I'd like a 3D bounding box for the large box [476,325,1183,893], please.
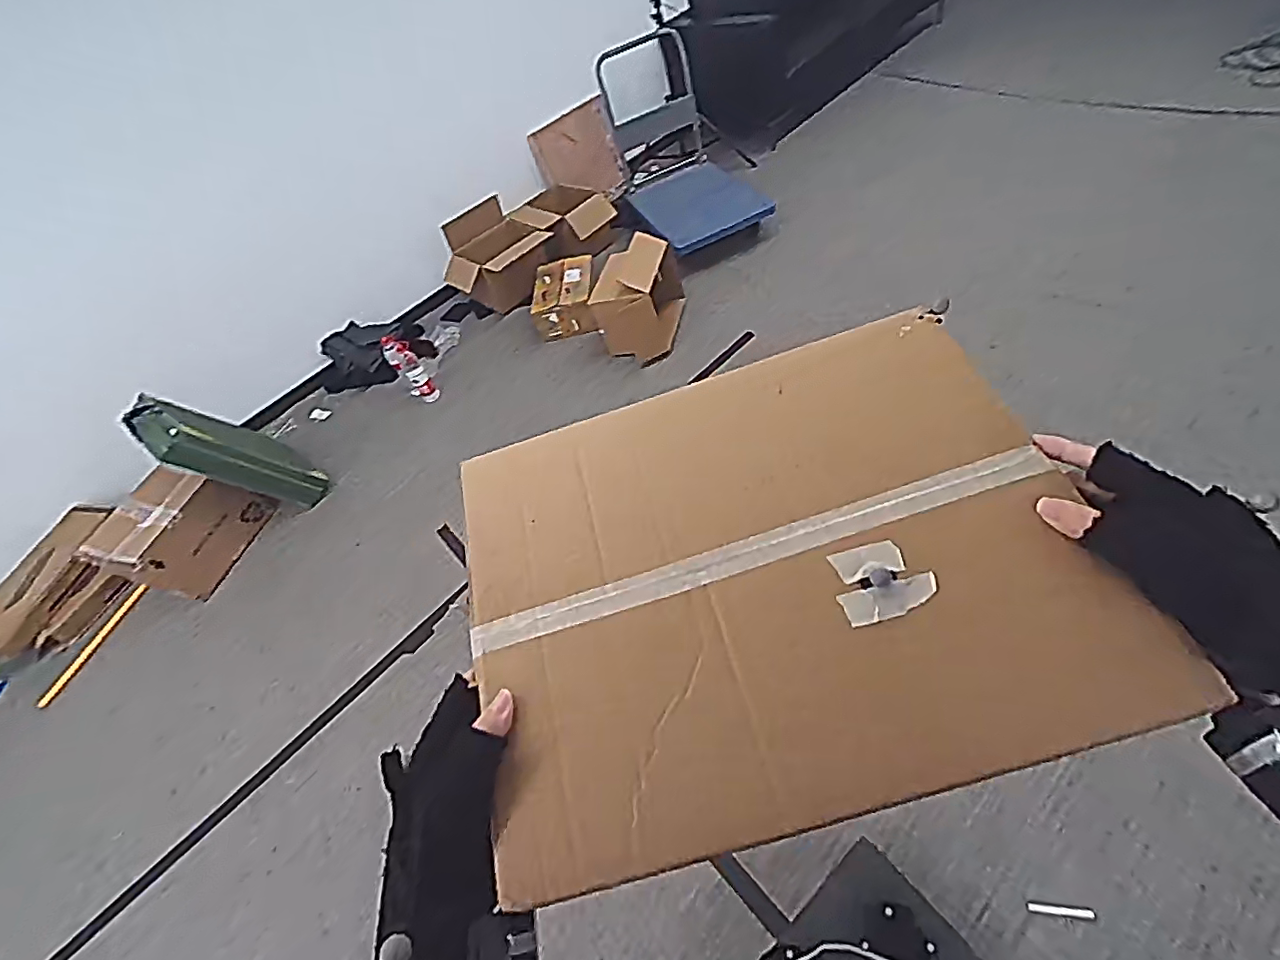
[{"bbox_3d":[0.109,0.128,0.512,0.408,0.320,0.320,-18,59,3],"label":"large box"}]
